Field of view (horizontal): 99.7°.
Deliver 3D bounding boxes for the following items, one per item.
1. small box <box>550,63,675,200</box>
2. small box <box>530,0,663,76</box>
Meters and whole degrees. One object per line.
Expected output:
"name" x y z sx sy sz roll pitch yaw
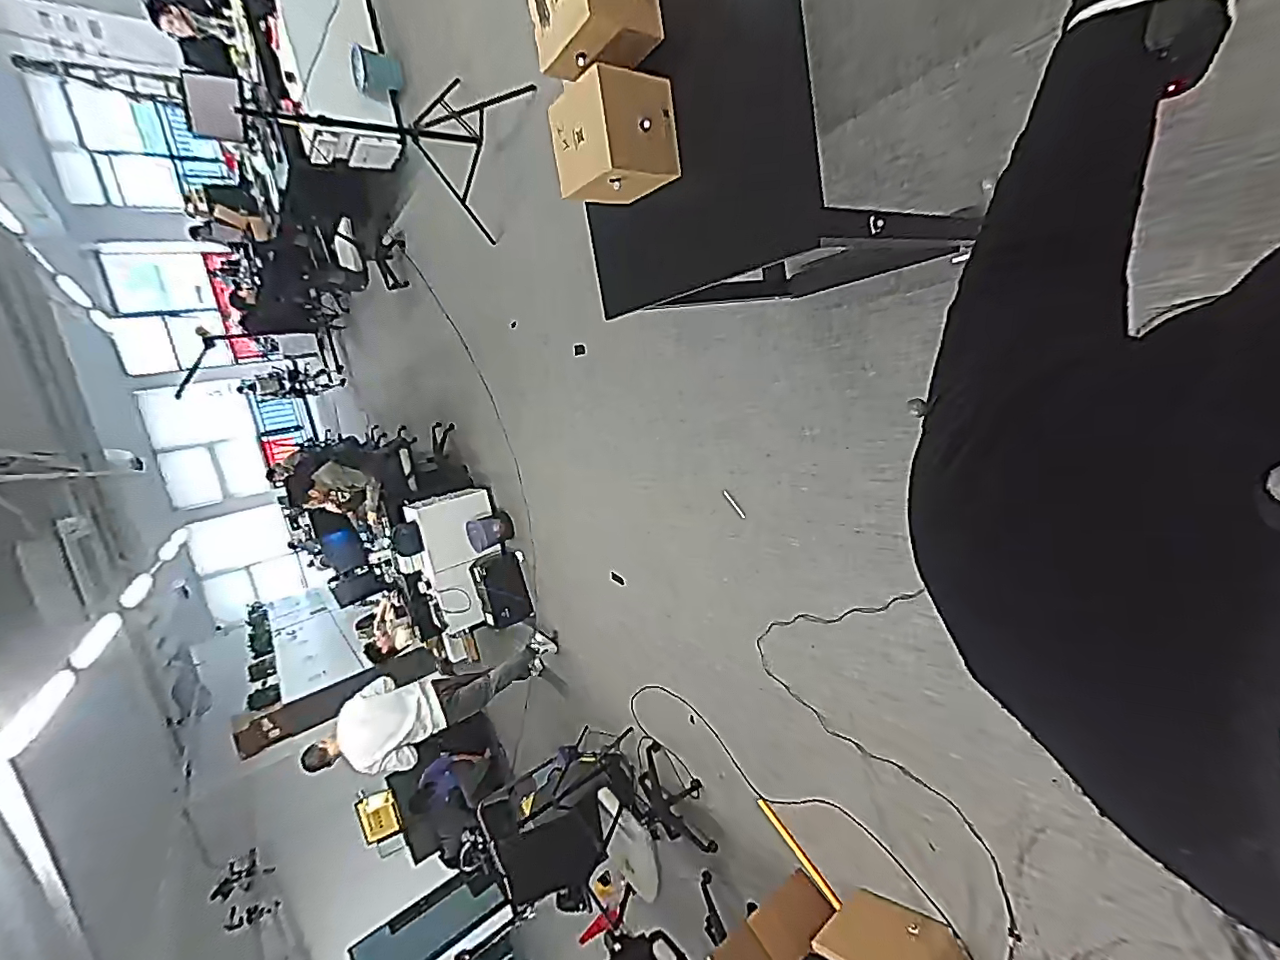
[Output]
"small box" -0.046 -0.650 1.032 0.179 0.176 0.168 9 111 53
"small box" -0.083 -0.867 0.988 0.179 0.176 0.168 3 108 53
